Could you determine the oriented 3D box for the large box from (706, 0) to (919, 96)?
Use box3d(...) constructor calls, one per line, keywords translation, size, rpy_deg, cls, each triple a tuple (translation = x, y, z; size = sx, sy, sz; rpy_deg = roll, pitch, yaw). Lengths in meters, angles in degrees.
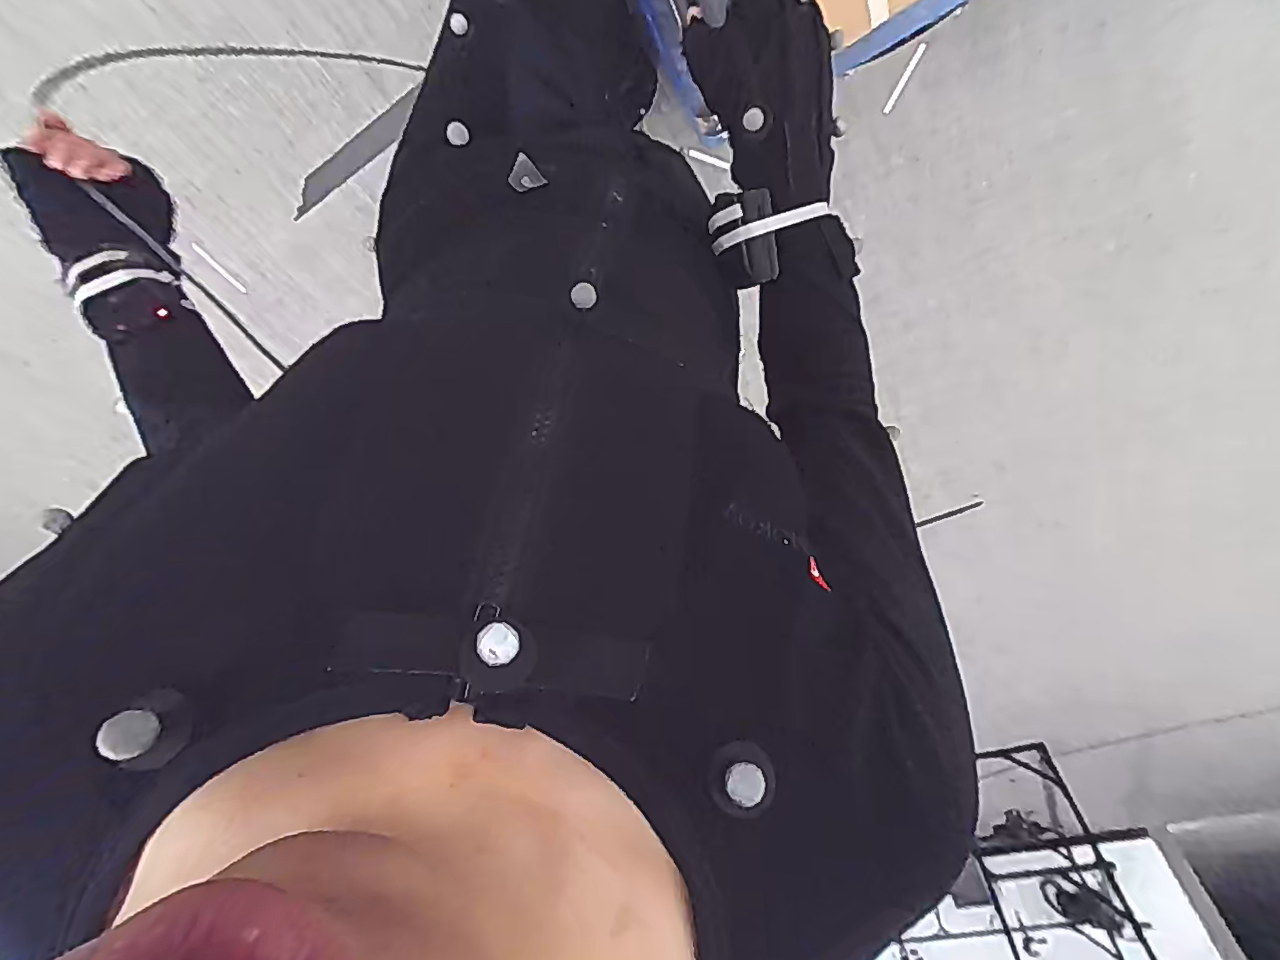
box3d(translation=(0.188, -0.778, 0.639), size=(0.320, 0.320, 0.408), rpy_deg=(-21, 131, 20), cls="large box")
